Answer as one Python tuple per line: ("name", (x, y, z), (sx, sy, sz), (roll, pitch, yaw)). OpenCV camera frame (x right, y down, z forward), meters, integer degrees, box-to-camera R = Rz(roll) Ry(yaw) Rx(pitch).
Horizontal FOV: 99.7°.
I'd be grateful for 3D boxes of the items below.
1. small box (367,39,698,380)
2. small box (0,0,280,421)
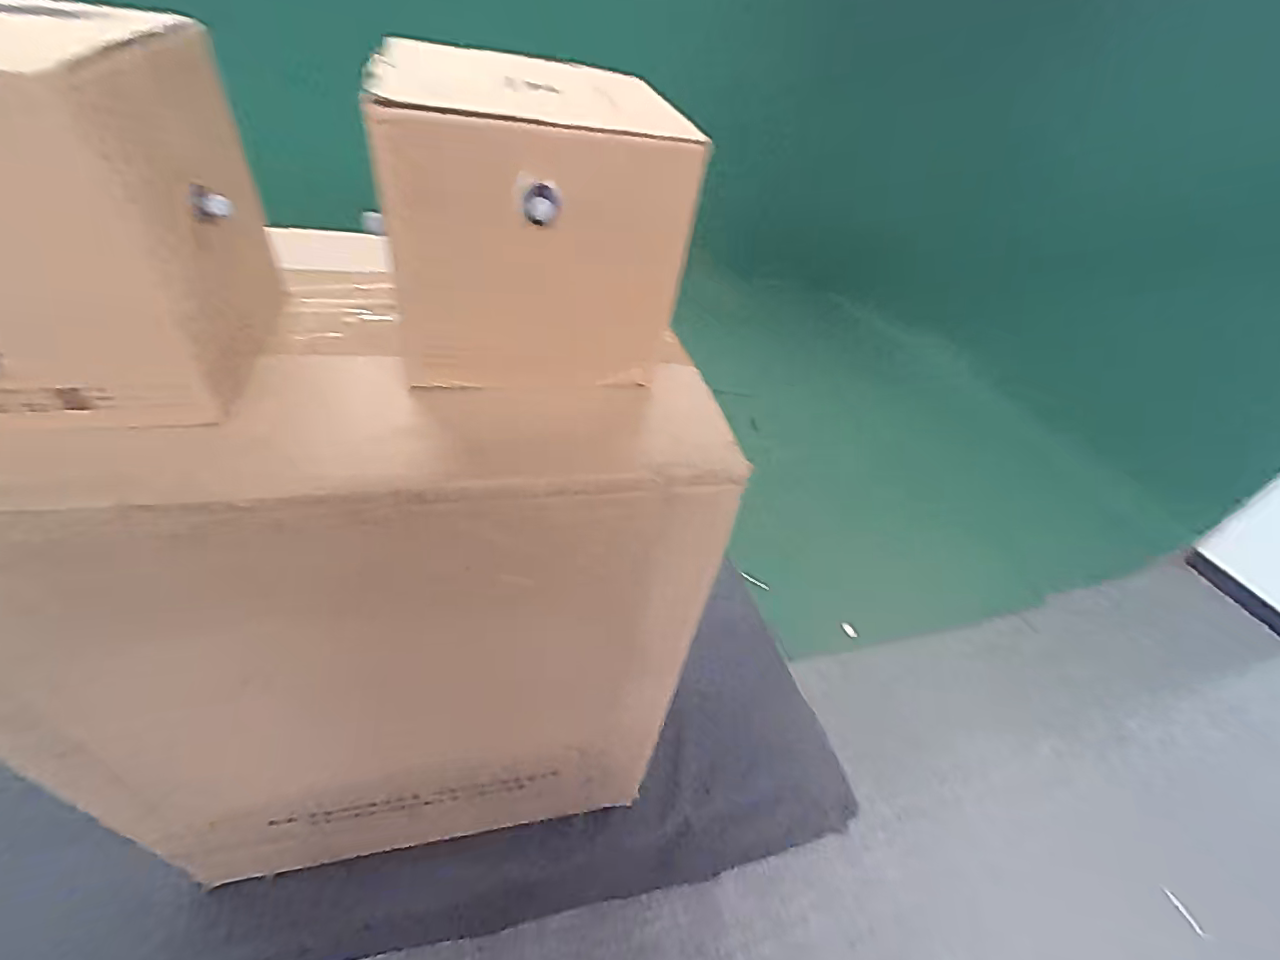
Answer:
("small box", (-0.081, -0.186, 0.390), (0.179, 0.176, 0.168), (-2, 46, -18))
("small box", (-0.328, -0.150, 0.299), (0.168, 0.176, 0.179), (-4, 46, -15))
